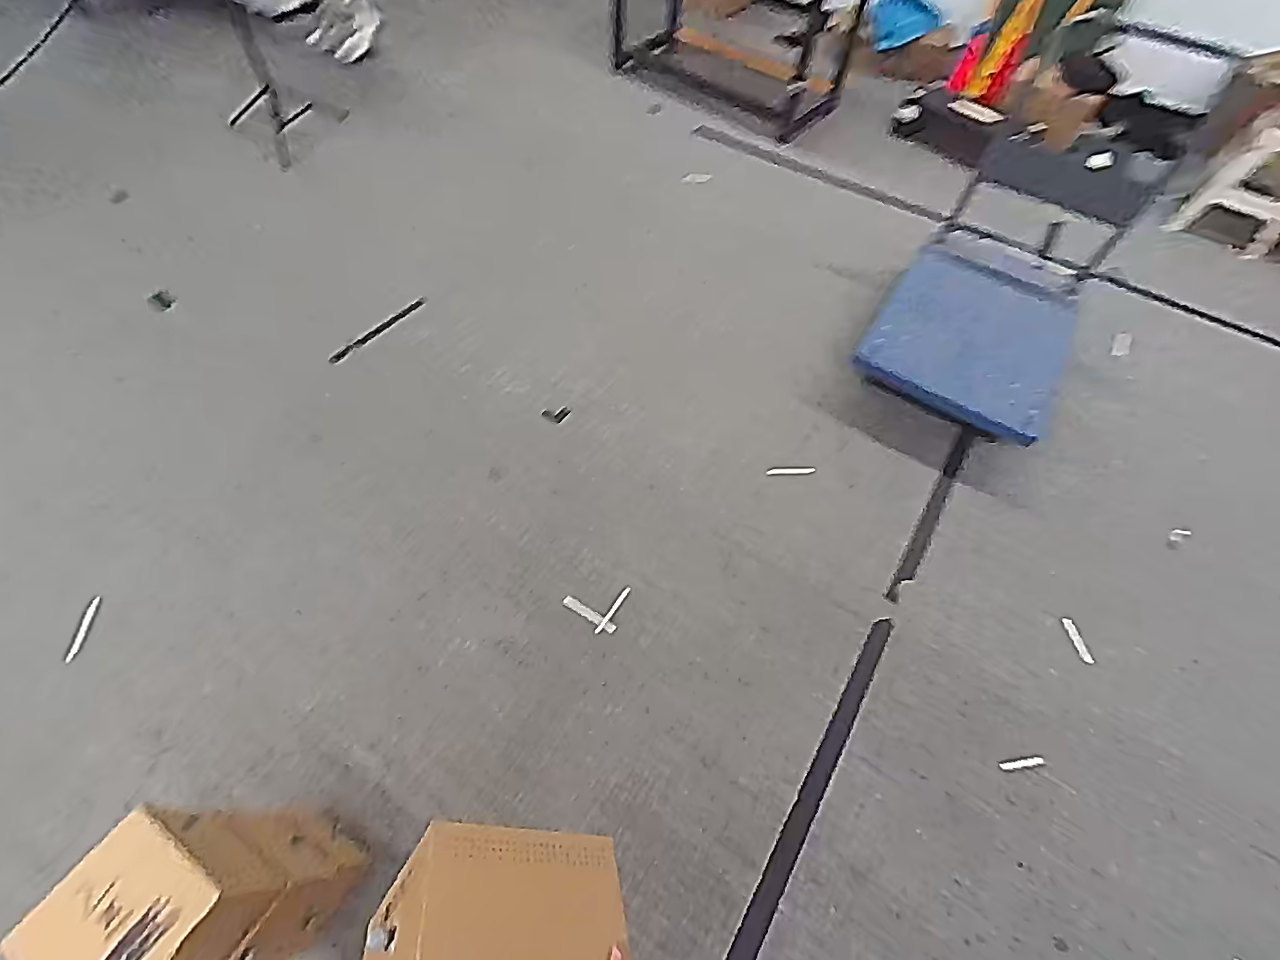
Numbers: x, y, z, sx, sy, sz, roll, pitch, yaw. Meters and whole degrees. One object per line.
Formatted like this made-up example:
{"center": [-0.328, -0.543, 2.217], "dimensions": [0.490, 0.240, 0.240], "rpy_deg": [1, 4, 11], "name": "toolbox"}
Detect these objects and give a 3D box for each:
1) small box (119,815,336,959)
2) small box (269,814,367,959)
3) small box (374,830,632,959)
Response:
{"center": [-0.627, 0.662, 0.846], "dimensions": [0.179, 0.176, 0.168], "rpy_deg": [28, 60, 15], "name": "small box"}
{"center": [-0.641, 0.747, 0.986], "dimensions": [0.168, 0.176, 0.179], "rpy_deg": [29, 59, 14], "name": "small box"}
{"center": [-0.113, 0.418, 0.440], "dimensions": [0.179, 0.168, 0.176], "rpy_deg": [23, 22, -23], "name": "small box"}
